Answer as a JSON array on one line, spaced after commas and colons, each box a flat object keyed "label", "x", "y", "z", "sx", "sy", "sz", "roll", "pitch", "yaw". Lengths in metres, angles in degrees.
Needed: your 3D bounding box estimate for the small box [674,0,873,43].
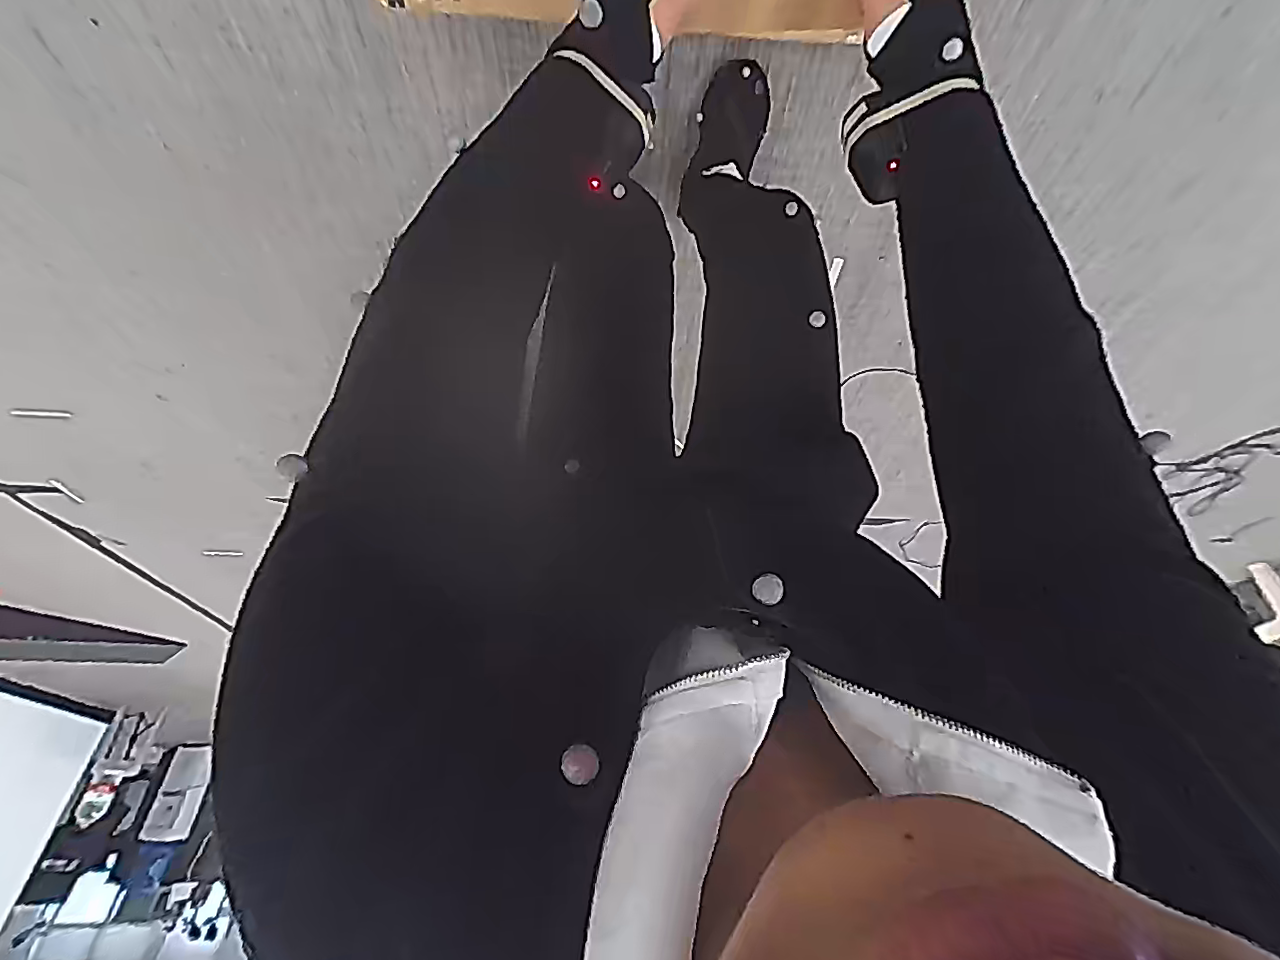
[{"label": "small box", "x": 0.109, "y": -0.496, "z": 0.447, "sx": 0.168, "sy": 0.176, "sz": 0.179, "roll": -1, "pitch": 143, "yaw": 2}]
